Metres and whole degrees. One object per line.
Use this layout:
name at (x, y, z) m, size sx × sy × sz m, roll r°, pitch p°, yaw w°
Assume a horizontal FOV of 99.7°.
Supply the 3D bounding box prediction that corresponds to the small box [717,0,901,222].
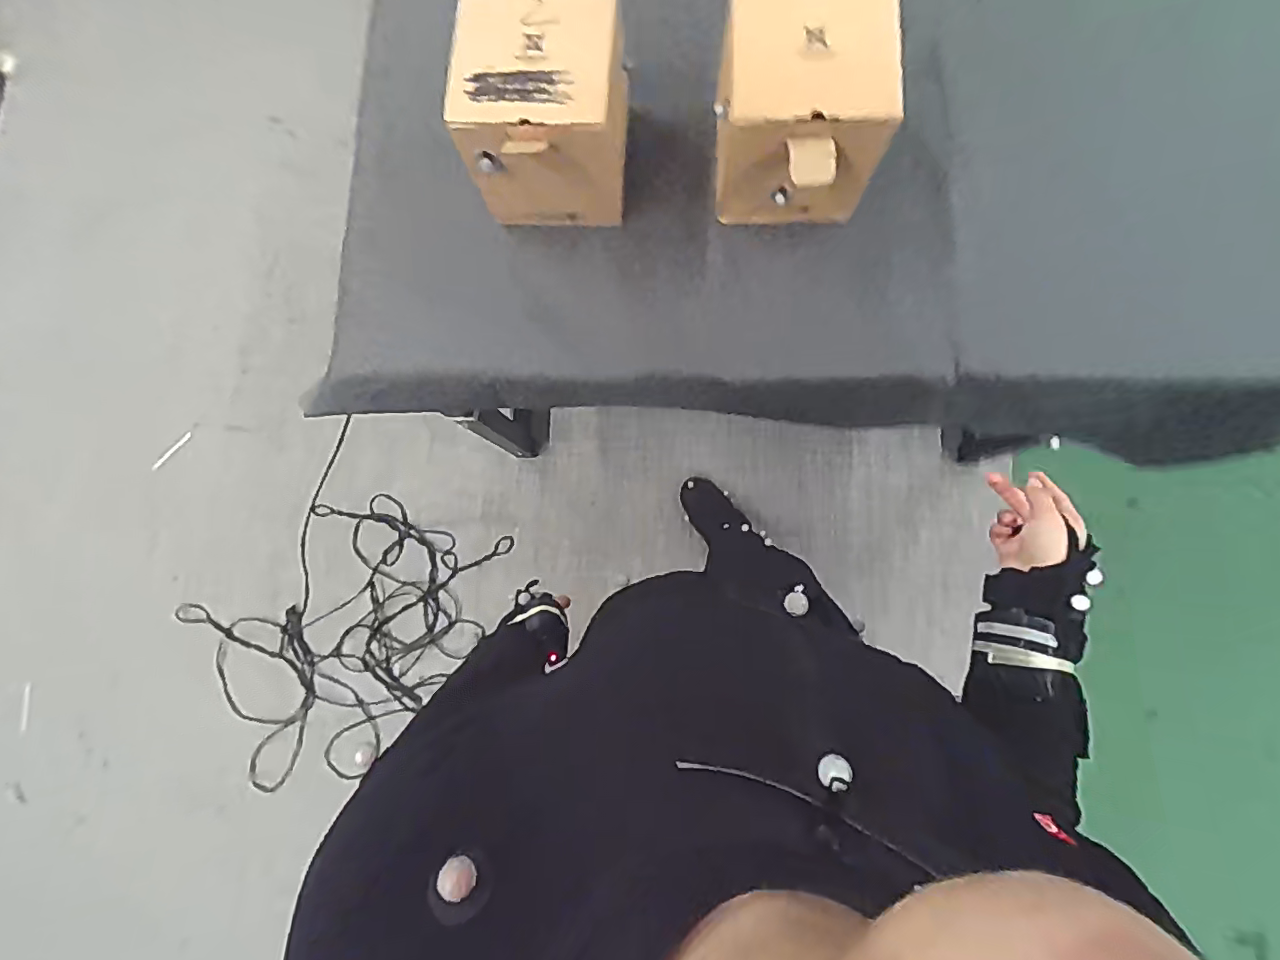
small box at (0.178, -0.426, 0.619) m, size 0.168 × 0.176 × 0.179 m, roll 0°, pitch 83°, yaw 3°
